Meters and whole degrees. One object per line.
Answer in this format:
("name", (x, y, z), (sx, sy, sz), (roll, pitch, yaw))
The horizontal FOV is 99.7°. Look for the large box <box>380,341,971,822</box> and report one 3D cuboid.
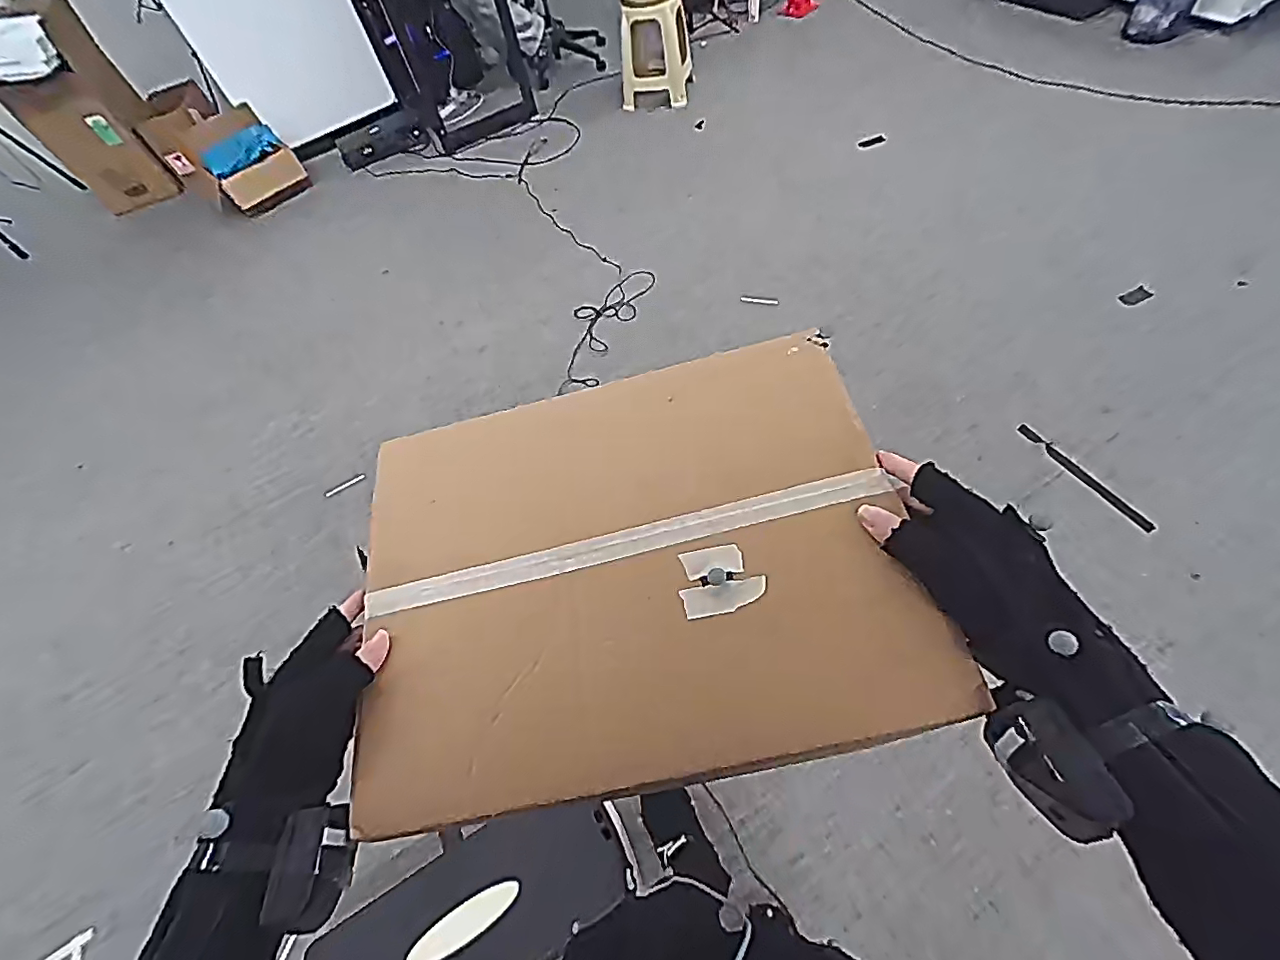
("large box", (0.015, 0.122, 0.550), (0.408, 0.320, 0.320), (-14, 60, 4))
